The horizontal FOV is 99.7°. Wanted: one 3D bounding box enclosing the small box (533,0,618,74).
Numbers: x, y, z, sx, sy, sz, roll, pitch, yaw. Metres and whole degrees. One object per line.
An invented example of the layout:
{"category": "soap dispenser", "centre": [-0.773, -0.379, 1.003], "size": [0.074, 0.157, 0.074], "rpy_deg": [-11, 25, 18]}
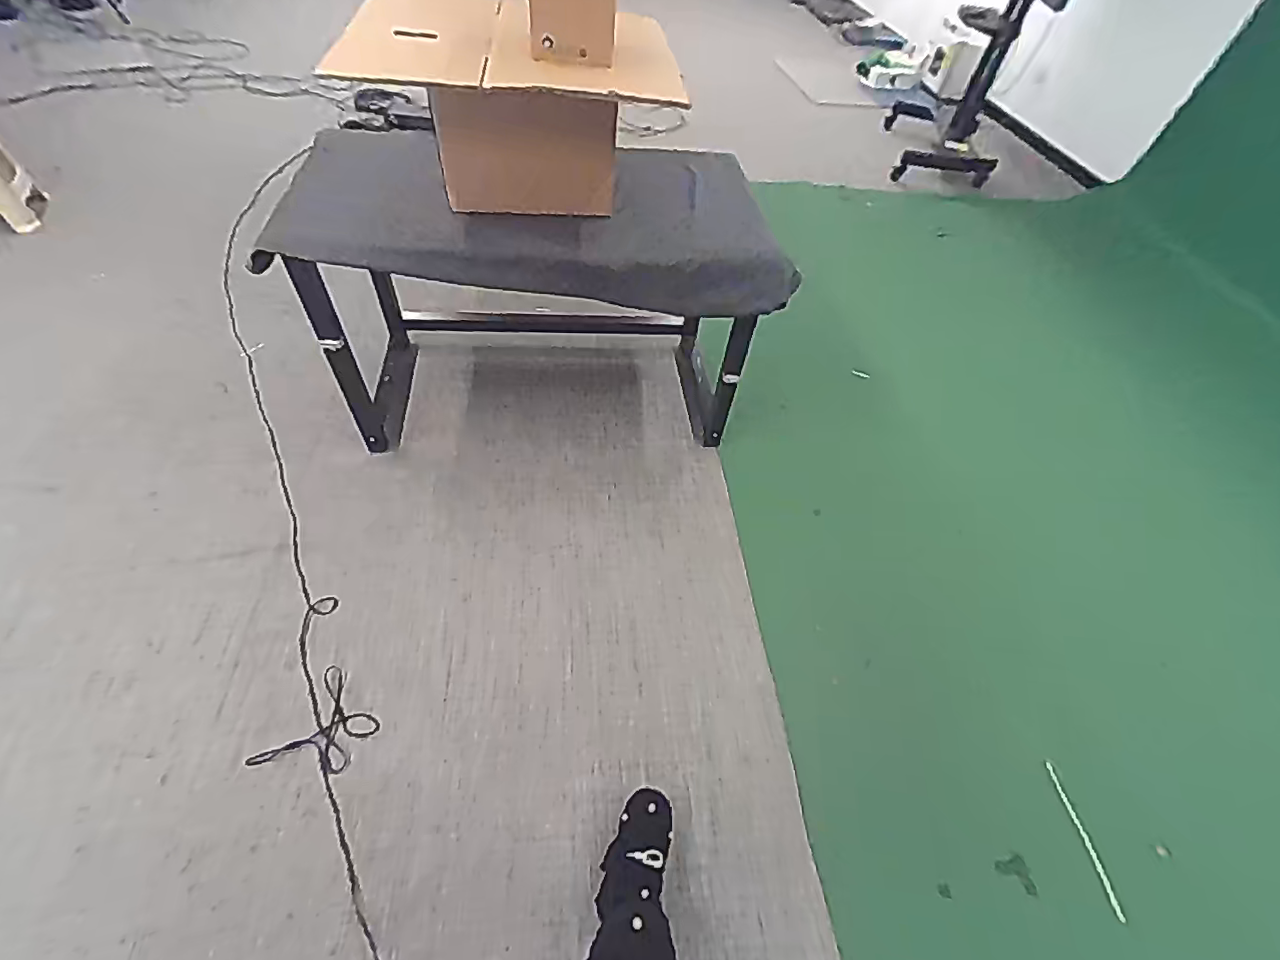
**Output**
{"category": "small box", "centre": [-0.134, -0.959, 1.106], "size": [0.168, 0.176, 0.179], "rpy_deg": [-1, 52, -9]}
